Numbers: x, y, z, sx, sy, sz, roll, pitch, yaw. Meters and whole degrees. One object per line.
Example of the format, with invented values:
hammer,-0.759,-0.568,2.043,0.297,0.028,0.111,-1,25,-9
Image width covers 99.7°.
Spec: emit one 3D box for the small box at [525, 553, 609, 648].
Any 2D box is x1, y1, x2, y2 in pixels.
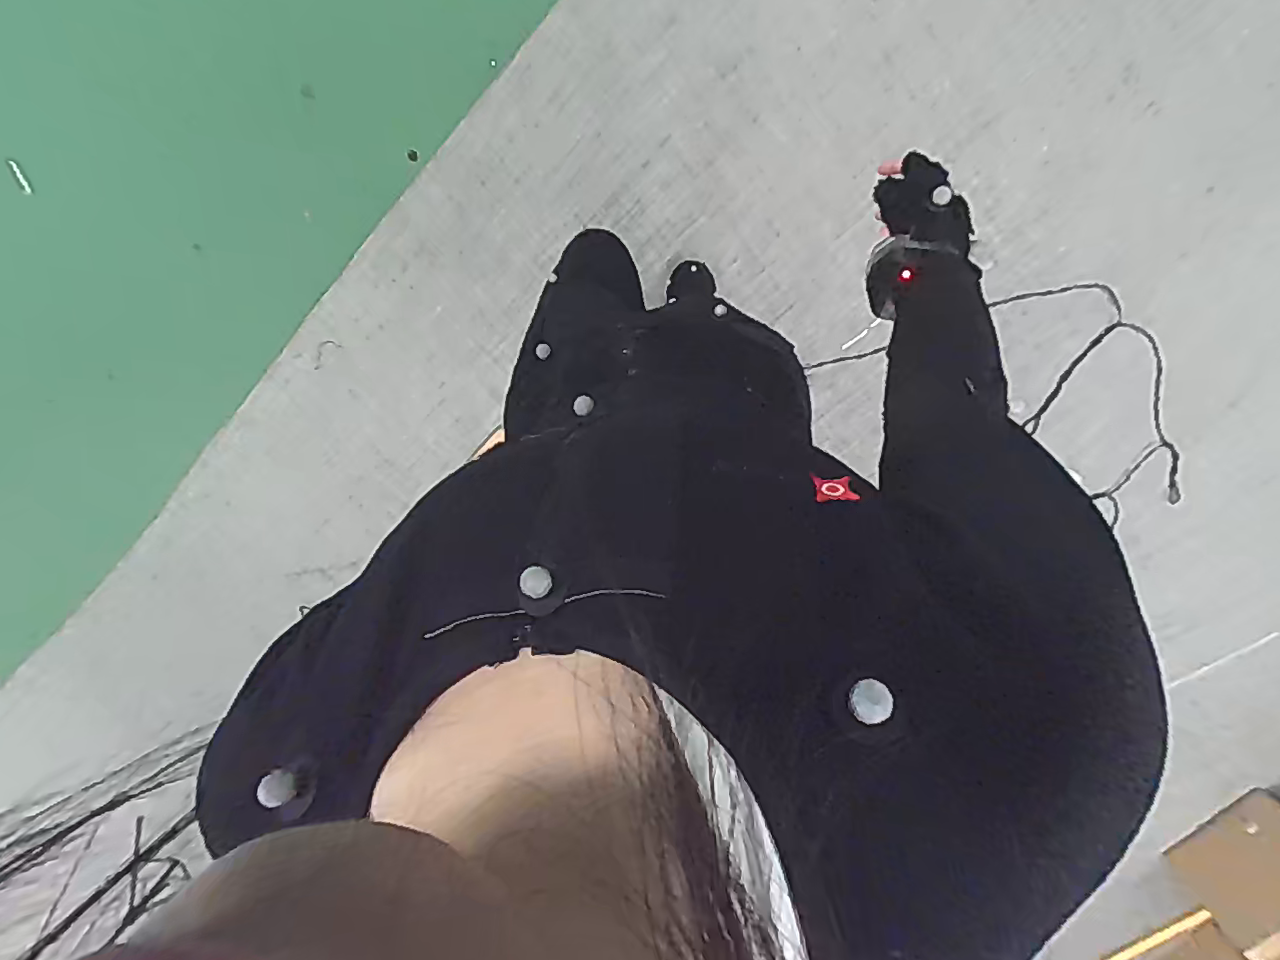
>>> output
small box,-0.206,0.346,1.587,0.168,0.176,0.179,39,110,-12
